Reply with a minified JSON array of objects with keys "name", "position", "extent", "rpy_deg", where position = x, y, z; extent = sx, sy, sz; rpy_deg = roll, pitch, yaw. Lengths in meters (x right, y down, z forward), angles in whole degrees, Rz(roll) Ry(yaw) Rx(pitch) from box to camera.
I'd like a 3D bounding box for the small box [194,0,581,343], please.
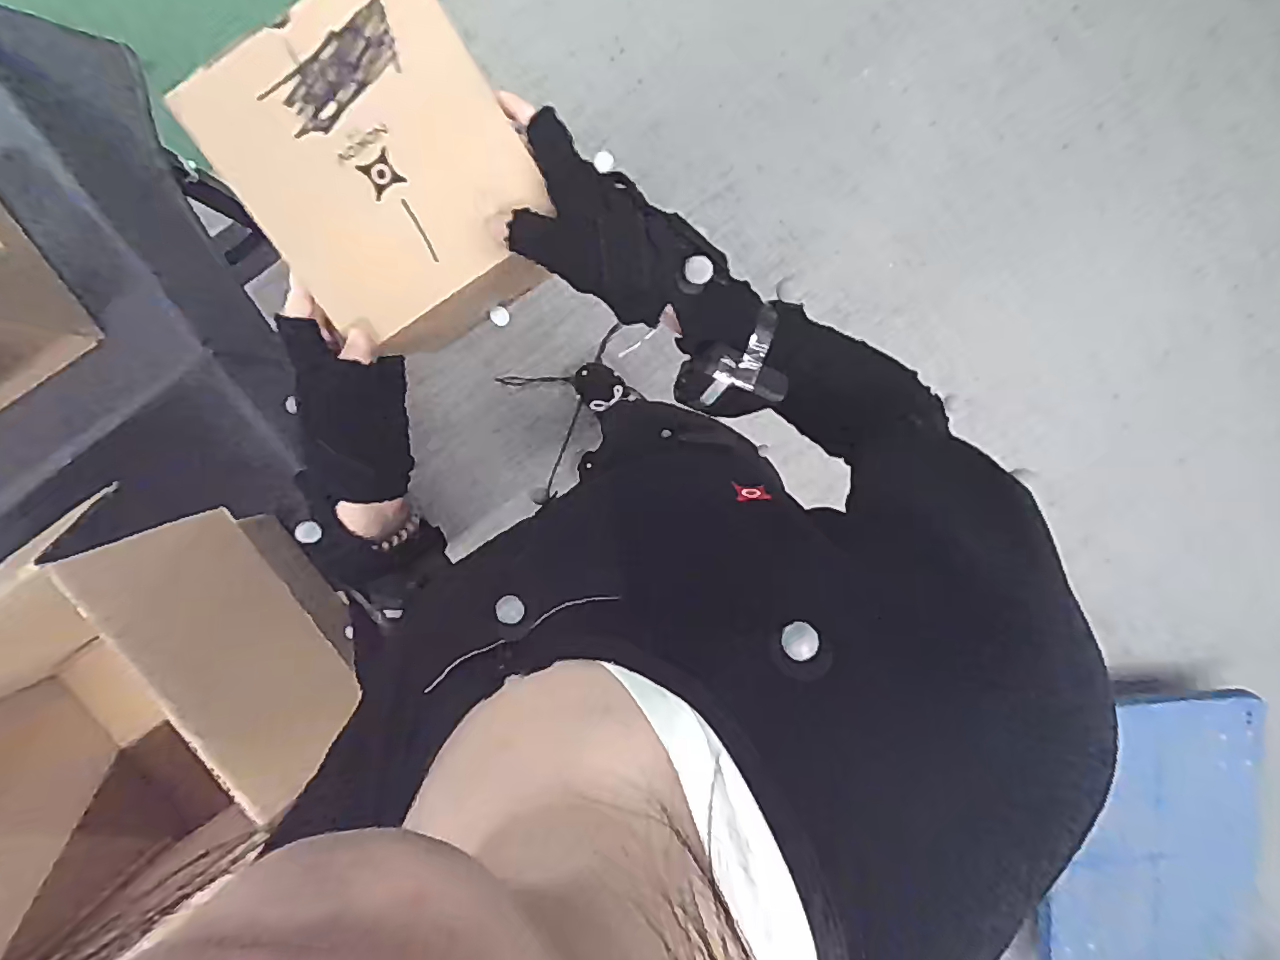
[{"name":"small box","position":[-0.158,-0.217,0.410],"extent":[0.168,0.176,0.179],"rpy_deg":[-30,104,4]}]
